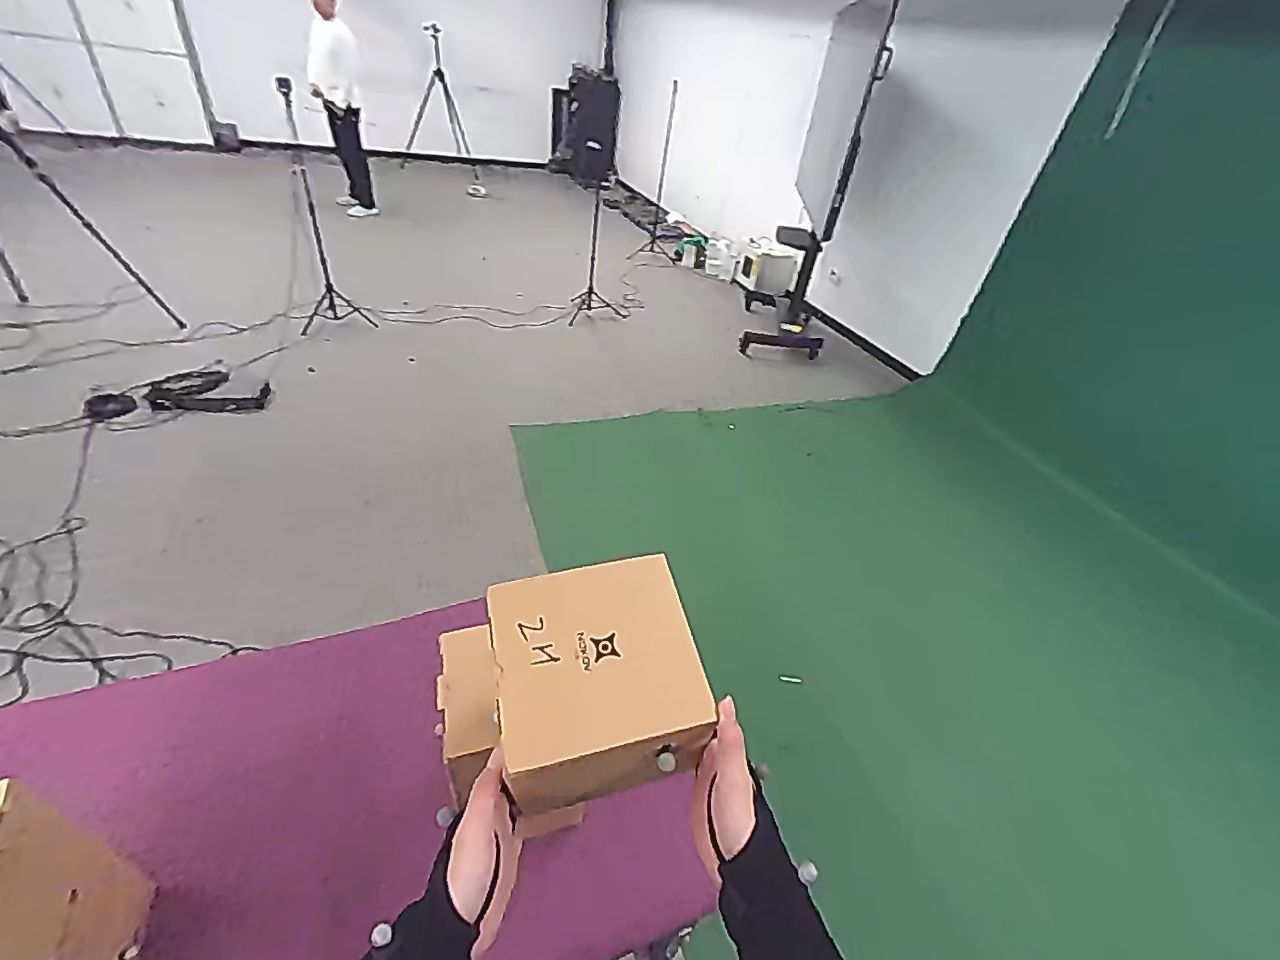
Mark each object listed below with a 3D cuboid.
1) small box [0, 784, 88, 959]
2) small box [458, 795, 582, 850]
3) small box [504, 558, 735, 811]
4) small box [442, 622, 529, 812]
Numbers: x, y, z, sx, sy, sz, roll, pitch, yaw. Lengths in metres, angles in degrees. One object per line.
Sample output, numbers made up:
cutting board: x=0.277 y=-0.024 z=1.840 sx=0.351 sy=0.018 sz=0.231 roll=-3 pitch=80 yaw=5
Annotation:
small box: x=-0.634 y=0.403 z=0.461 sx=0.179 sy=0.176 sz=0.168 roll=-10 pitch=42 yaw=-24
small box: x=-0.182 y=0.421 z=0.817 sx=0.179 sy=0.176 sz=0.168 roll=-6 pitch=41 yaw=-18
small box: x=-0.030 y=0.199 z=0.527 sx=0.179 sy=0.176 sz=0.168 roll=-8 pitch=51 yaw=-12
small box: x=-0.155 y=0.301 z=0.707 sx=0.179 sy=0.176 sz=0.168 roll=-6 pitch=41 yaw=-18
